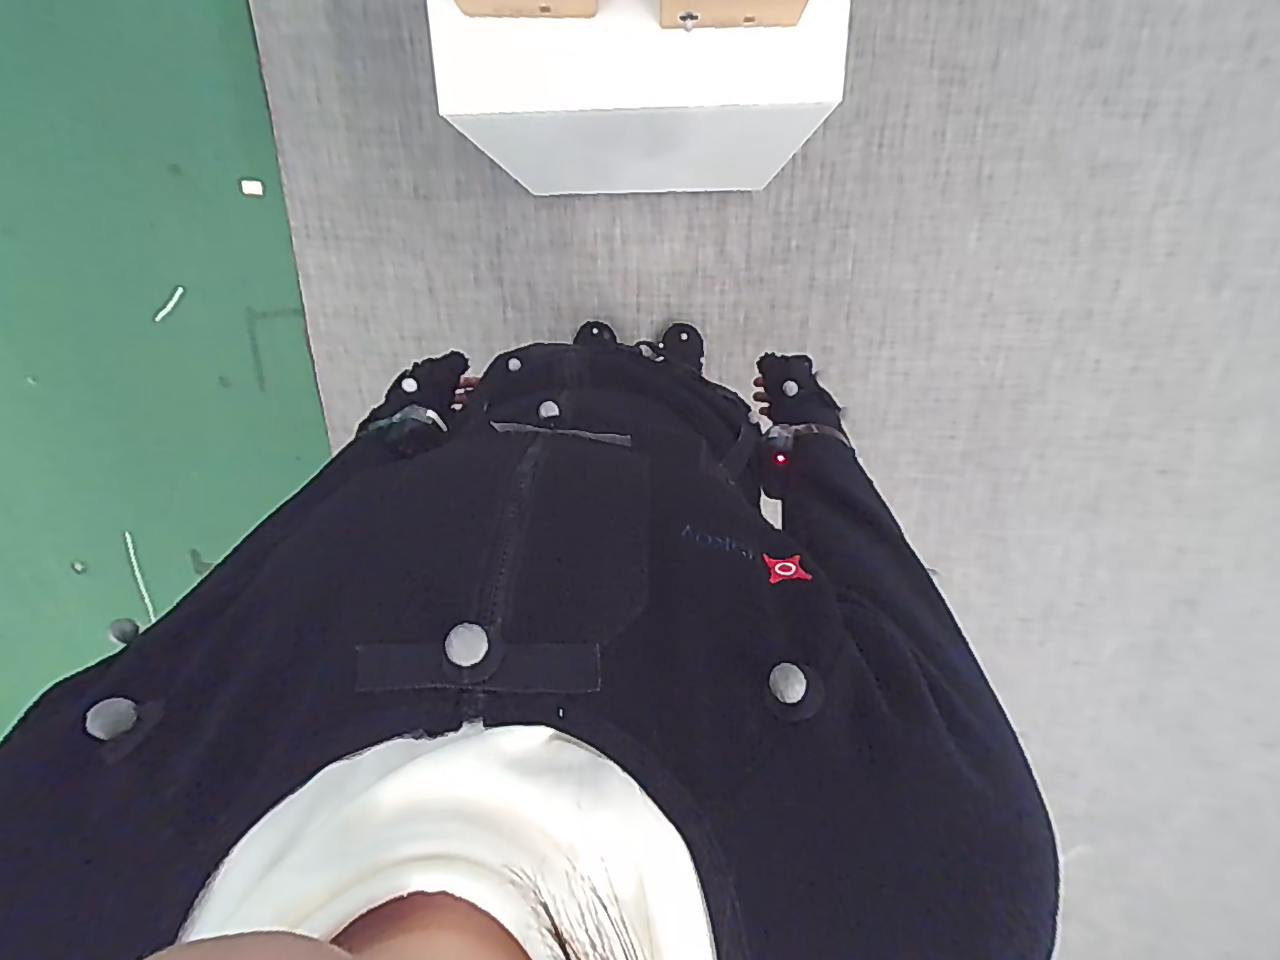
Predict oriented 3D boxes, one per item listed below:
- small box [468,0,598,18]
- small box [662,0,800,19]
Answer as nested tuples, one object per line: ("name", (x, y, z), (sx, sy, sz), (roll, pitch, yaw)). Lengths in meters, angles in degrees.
("small box", (-0.131, -0.623, 0.552), (0.168, 0.176, 0.179), (2, 107, 3))
("small box", (0.101, -0.607, 0.547), (0.168, 0.176, 0.179), (1, 107, 2))
